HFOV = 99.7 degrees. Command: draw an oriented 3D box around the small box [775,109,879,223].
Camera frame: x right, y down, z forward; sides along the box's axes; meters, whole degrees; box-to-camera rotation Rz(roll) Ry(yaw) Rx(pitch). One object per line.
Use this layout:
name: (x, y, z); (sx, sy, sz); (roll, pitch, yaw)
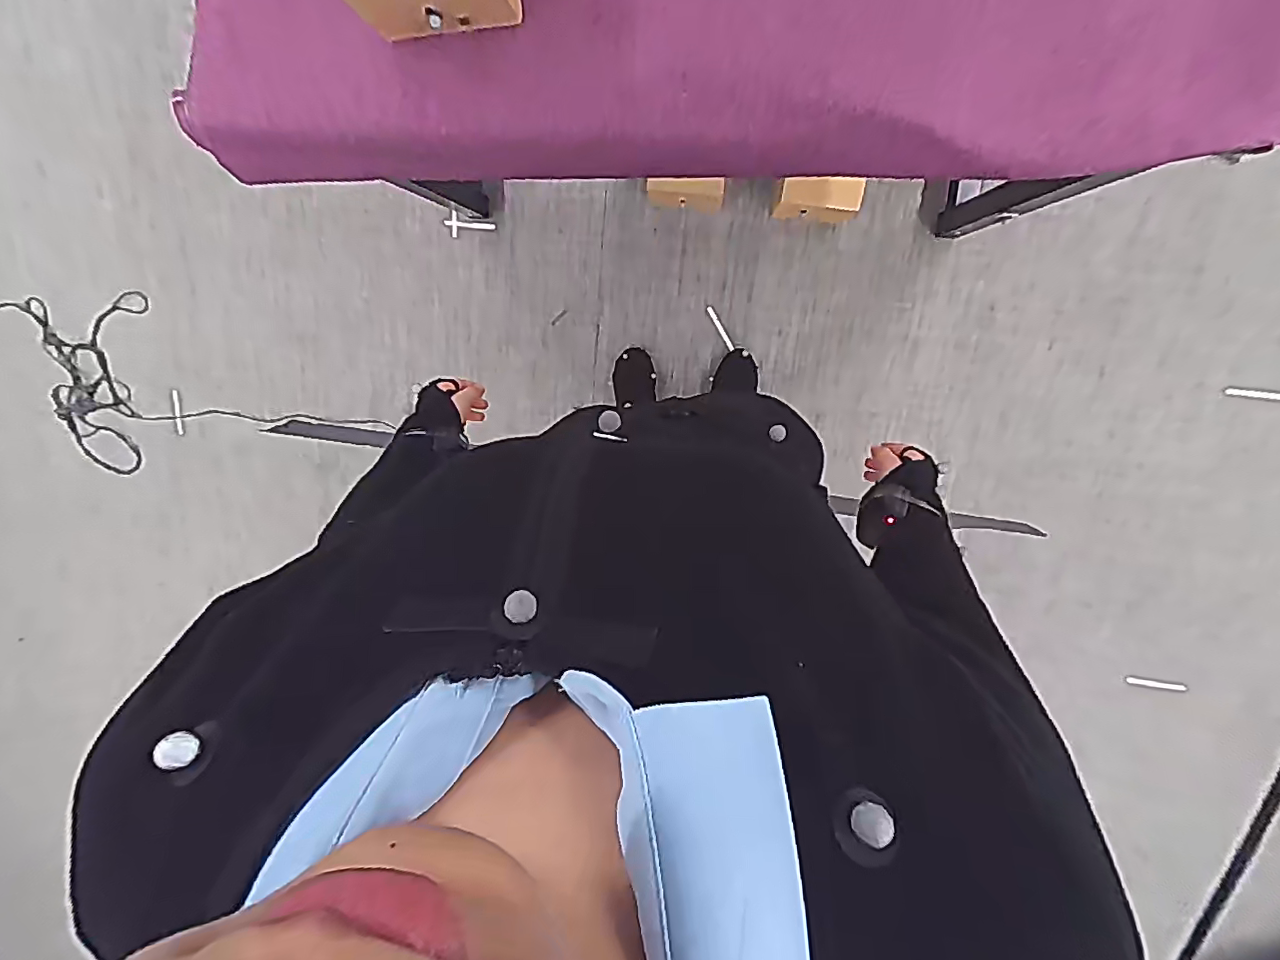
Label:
small box: (0.399, -0.680, 1.190); (0.168, 0.176, 0.179); (10, 106, 4)

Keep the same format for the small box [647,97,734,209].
small box: (0.113, -0.722, 1.211); (0.168, 0.176, 0.179); (7, 106, 4)
